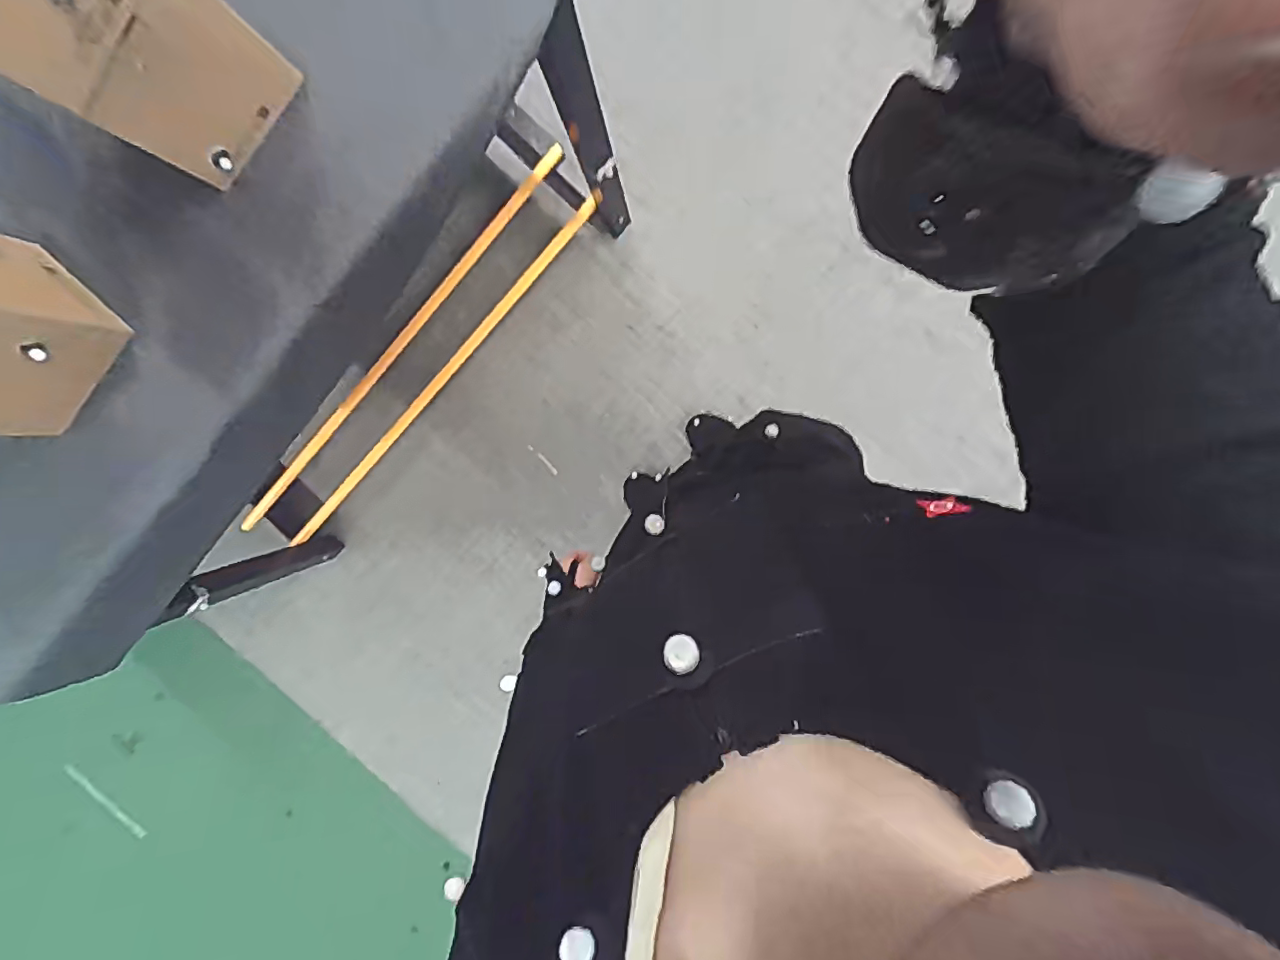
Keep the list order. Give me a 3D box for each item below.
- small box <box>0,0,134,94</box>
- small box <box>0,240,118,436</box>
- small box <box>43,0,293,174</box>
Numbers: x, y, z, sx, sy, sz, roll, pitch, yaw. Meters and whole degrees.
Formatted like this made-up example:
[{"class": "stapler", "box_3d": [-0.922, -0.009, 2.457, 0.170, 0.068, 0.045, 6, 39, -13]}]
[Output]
[{"class": "small box", "box_3d": [-0.524, -0.433, 0.386, 0.179, 0.176, 0.168, 36, 97, 0]}, {"class": "small box", "box_3d": [-0.746, -0.164, 0.594, 0.168, 0.176, 0.179, 42, 97, 1]}, {"class": "small box", "box_3d": [-0.510, -0.451, 0.549, 0.179, 0.176, 0.168, 42, 97, 1]}]
